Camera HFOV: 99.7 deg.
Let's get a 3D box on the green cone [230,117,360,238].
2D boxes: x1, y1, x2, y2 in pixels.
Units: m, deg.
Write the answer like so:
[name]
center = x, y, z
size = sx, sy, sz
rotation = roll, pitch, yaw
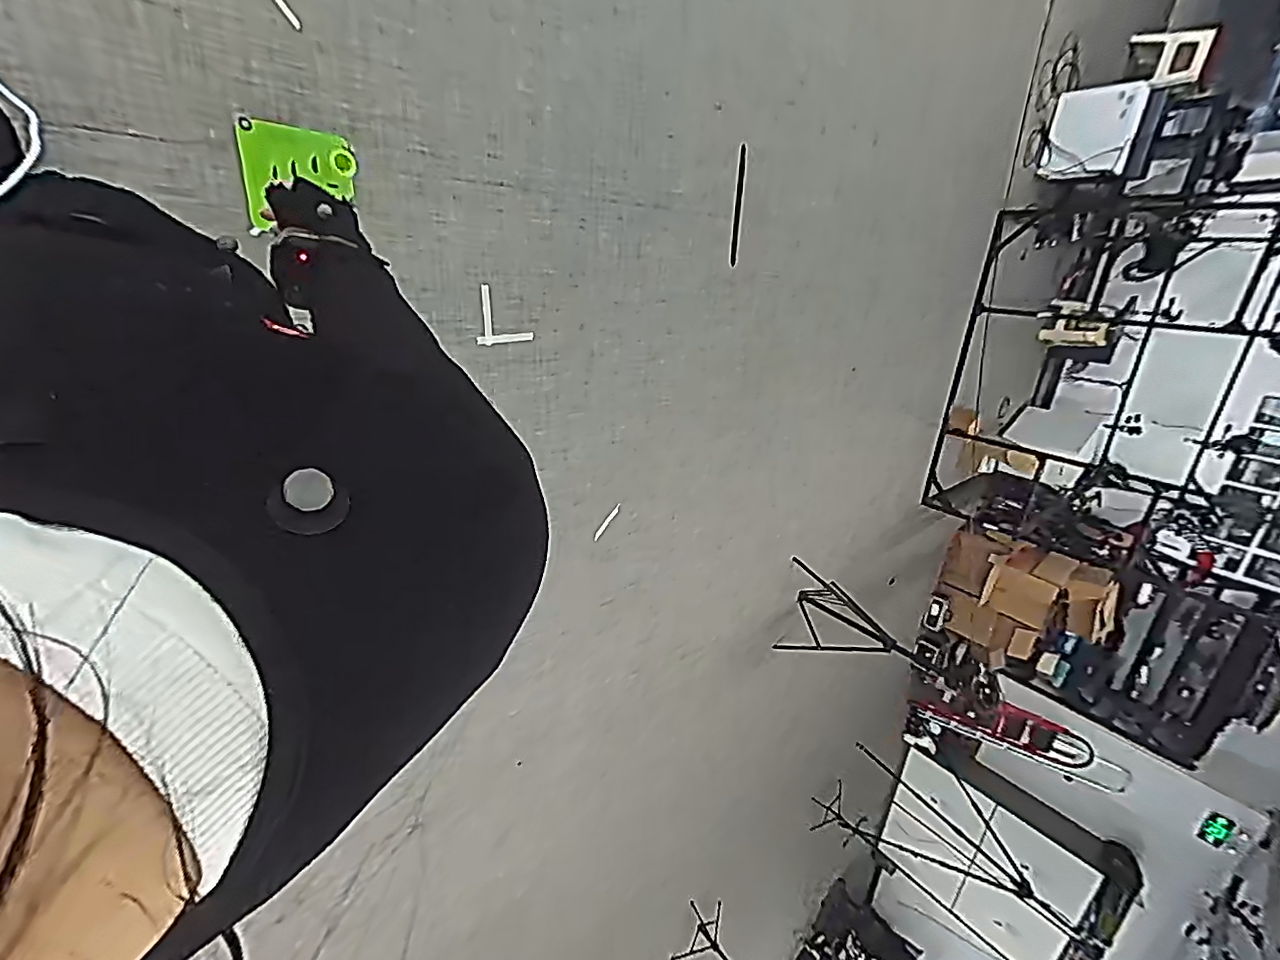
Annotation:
[green cone]
center = -0.599, -0.563, 0.999
size = 0.202, 0.368, 0.200
rotation = -14, 117, -39
